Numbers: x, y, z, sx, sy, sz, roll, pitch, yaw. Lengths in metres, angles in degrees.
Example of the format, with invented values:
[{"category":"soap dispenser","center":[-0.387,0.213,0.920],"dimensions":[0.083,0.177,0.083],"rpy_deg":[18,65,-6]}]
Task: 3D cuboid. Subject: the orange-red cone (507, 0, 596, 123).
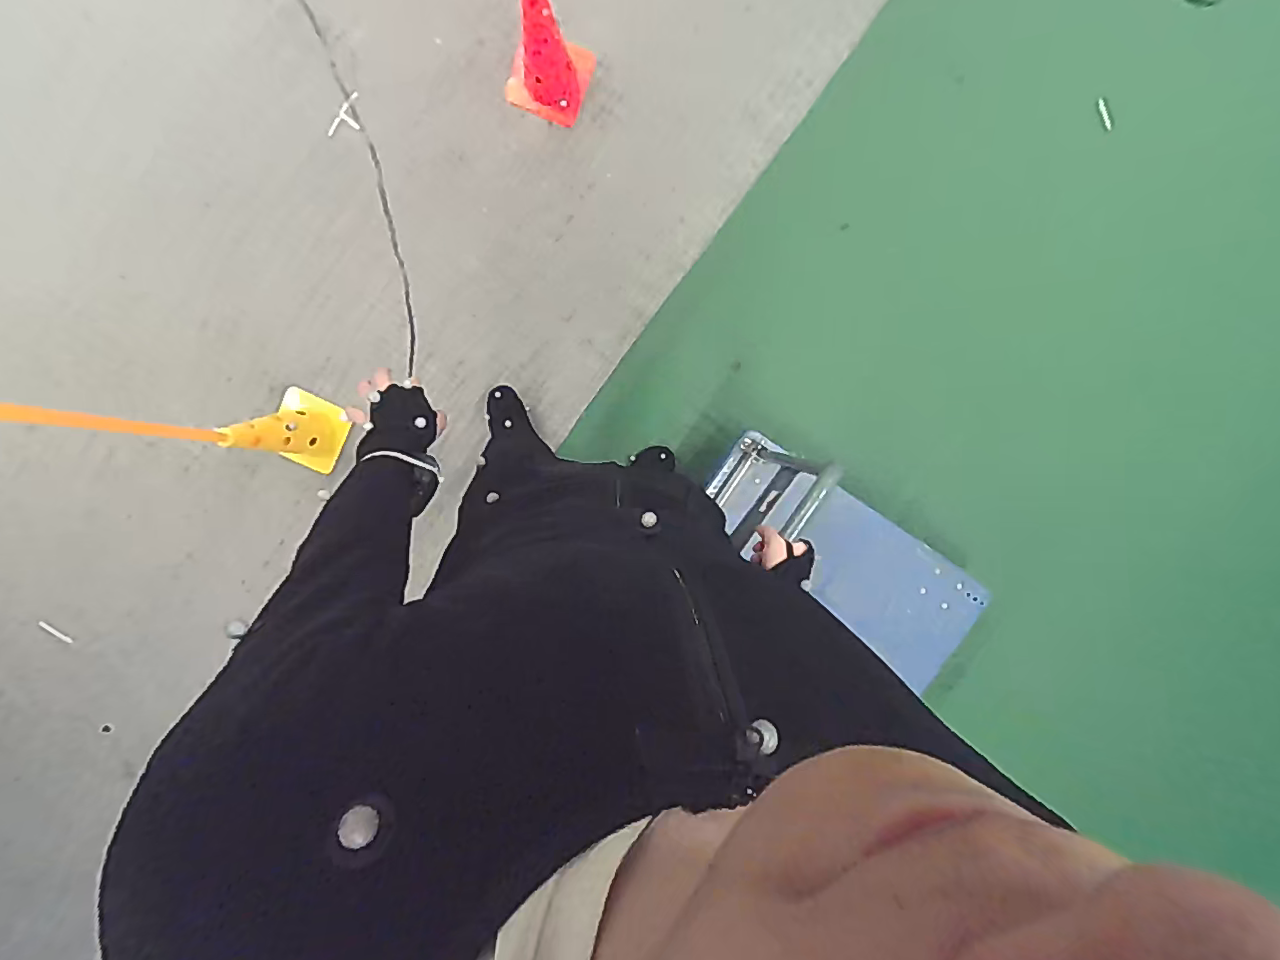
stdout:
[{"category":"orange-red cone","center":[-0.227,-1.065,1.279],"dimensions":[0.198,0.360,0.199],"rpy_deg":[22,95,-6]}]
